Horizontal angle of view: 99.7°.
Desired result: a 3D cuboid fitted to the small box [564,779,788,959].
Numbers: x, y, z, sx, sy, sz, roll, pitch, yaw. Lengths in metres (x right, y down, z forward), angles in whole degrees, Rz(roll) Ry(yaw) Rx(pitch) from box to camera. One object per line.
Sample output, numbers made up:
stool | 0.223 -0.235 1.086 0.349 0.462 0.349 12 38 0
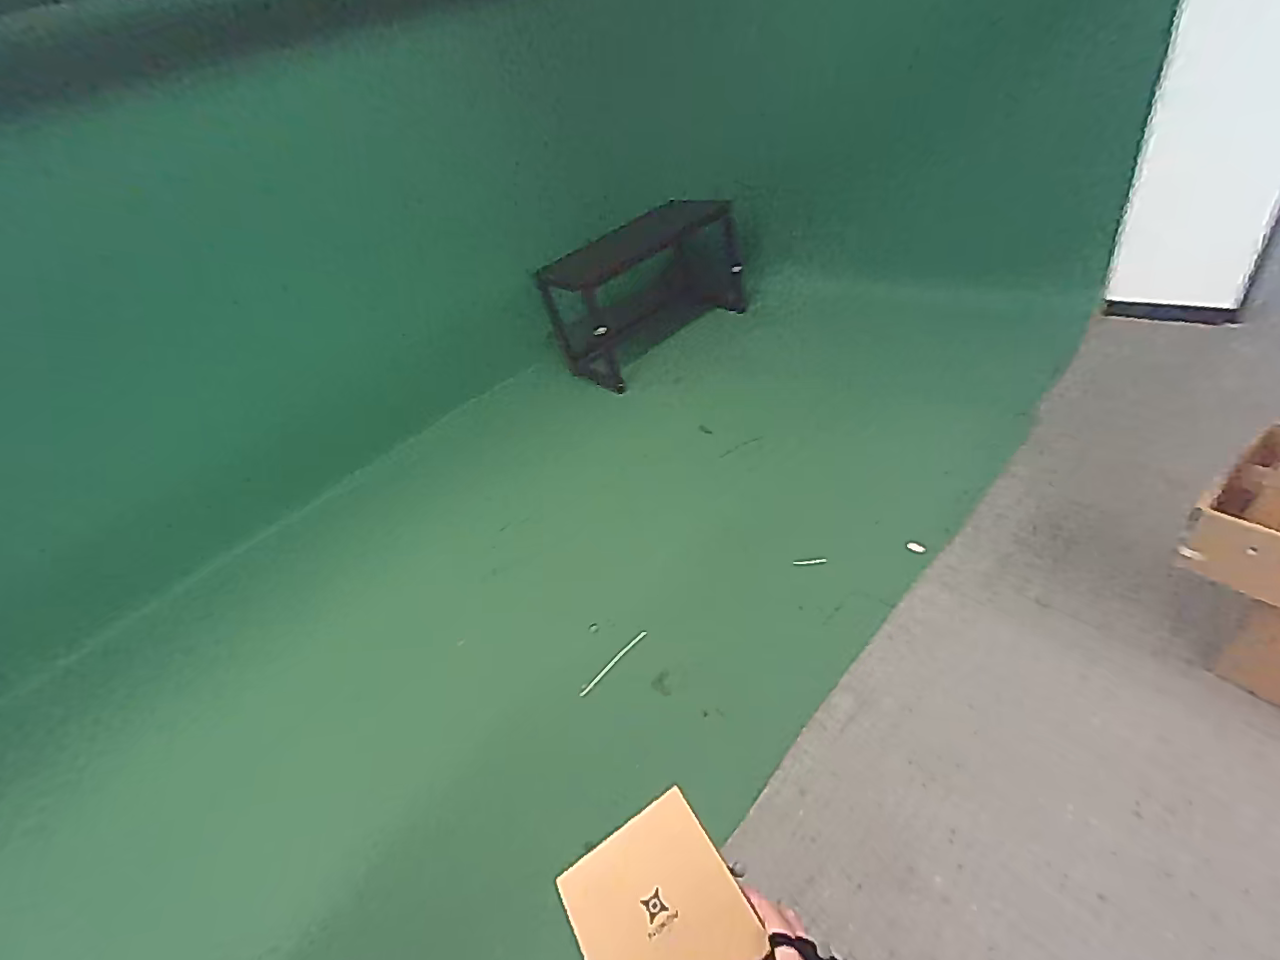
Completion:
small box | 0.042 0.483 0.593 0.168 0.176 0.179 -30 41 -14
